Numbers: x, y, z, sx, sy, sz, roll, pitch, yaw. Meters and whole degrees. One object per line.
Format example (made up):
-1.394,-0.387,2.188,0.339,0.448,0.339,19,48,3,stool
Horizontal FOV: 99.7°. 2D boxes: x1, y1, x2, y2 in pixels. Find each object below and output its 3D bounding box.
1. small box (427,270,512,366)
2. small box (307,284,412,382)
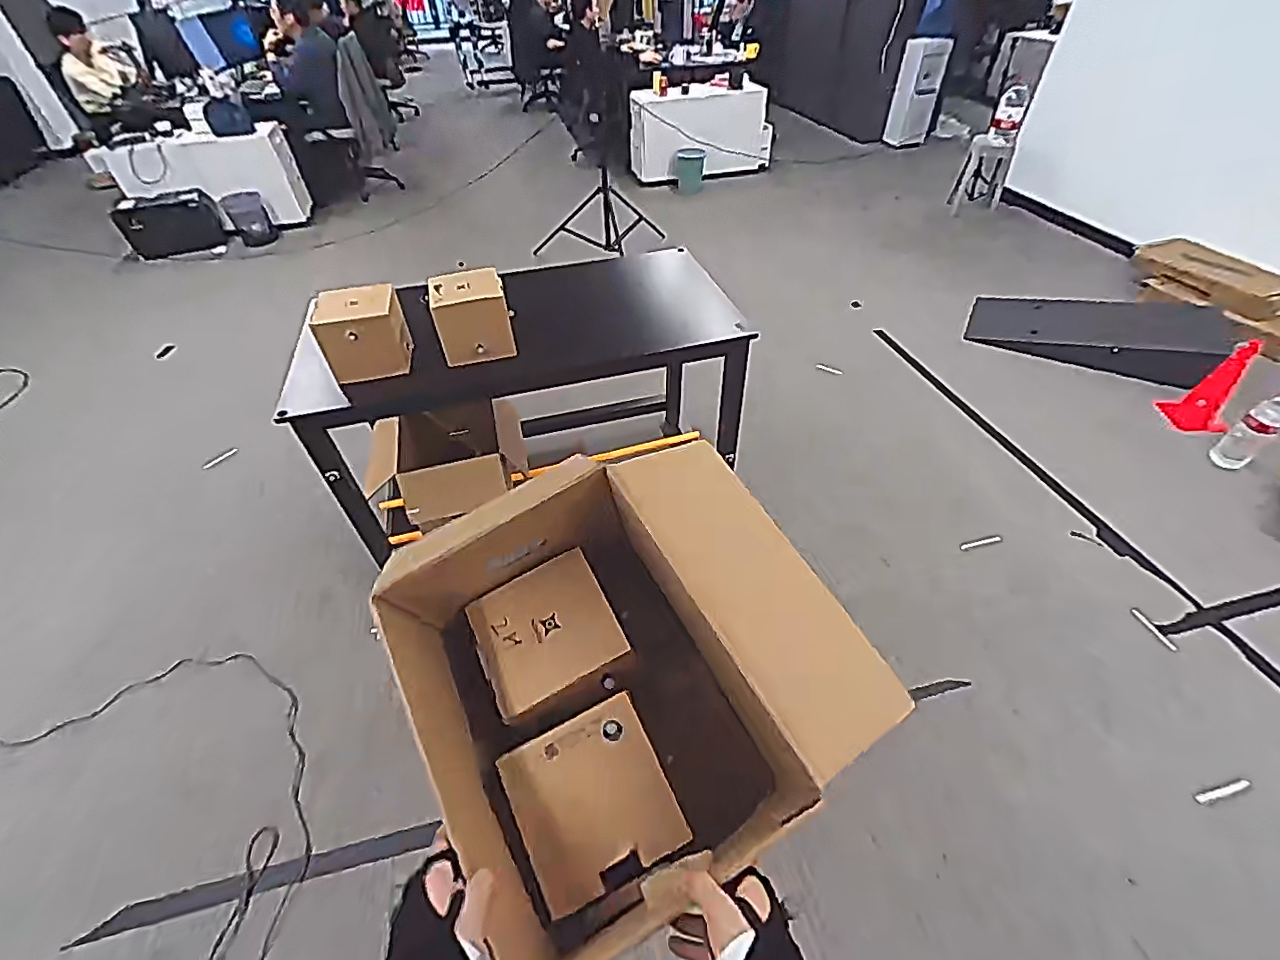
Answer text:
-0.431,-0.413,1.382,0.179,0.176,0.168,-13,46,-11,small box
-0.685,-0.361,1.338,0.179,0.176,0.168,-11,47,-10,small box
